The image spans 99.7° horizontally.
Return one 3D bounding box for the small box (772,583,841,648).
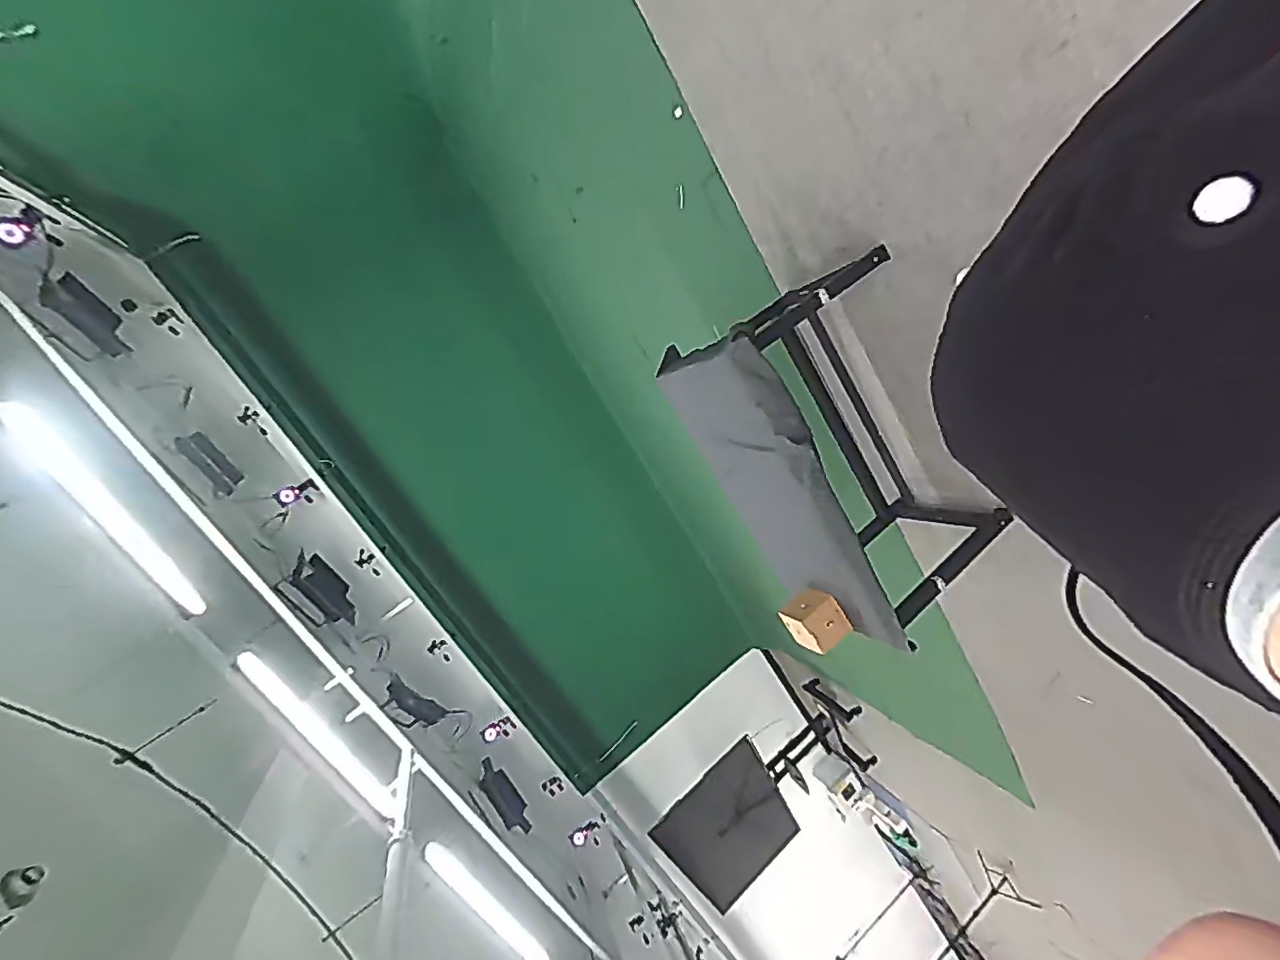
[{"bbox_3d":[0.673,0.534,2.159,0.168,0.176,0.179,57,165,-10],"label":"small box"}]
